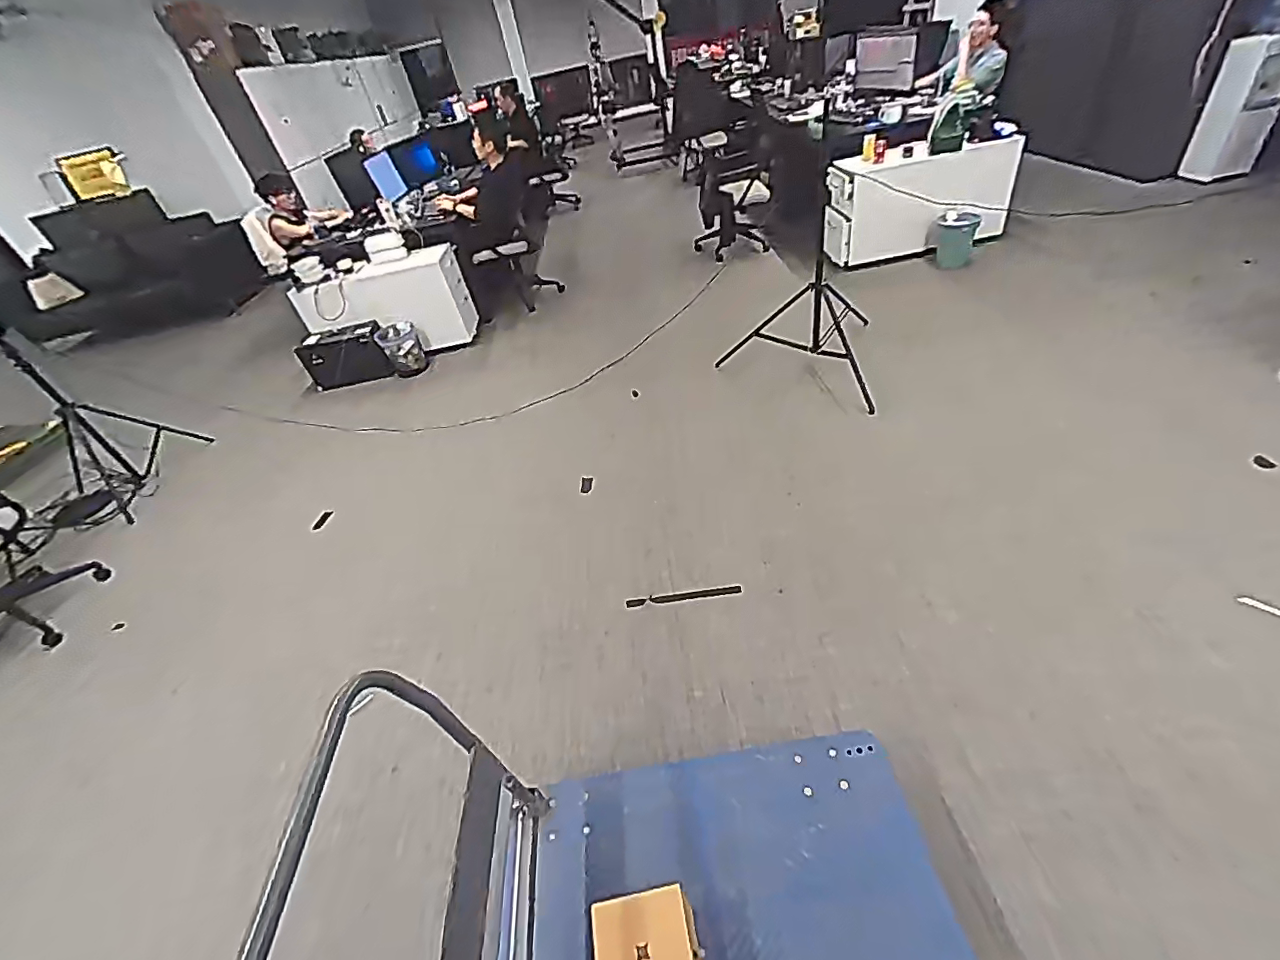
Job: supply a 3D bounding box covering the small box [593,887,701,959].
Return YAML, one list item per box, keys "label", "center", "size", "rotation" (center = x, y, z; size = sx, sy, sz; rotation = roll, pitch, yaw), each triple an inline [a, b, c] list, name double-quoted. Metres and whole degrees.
- label: "small box"
  center: [0.020, 0.856, 0.946]
  size: [0.168, 0.176, 0.179]
  rotation: [-14, 40, -1]
